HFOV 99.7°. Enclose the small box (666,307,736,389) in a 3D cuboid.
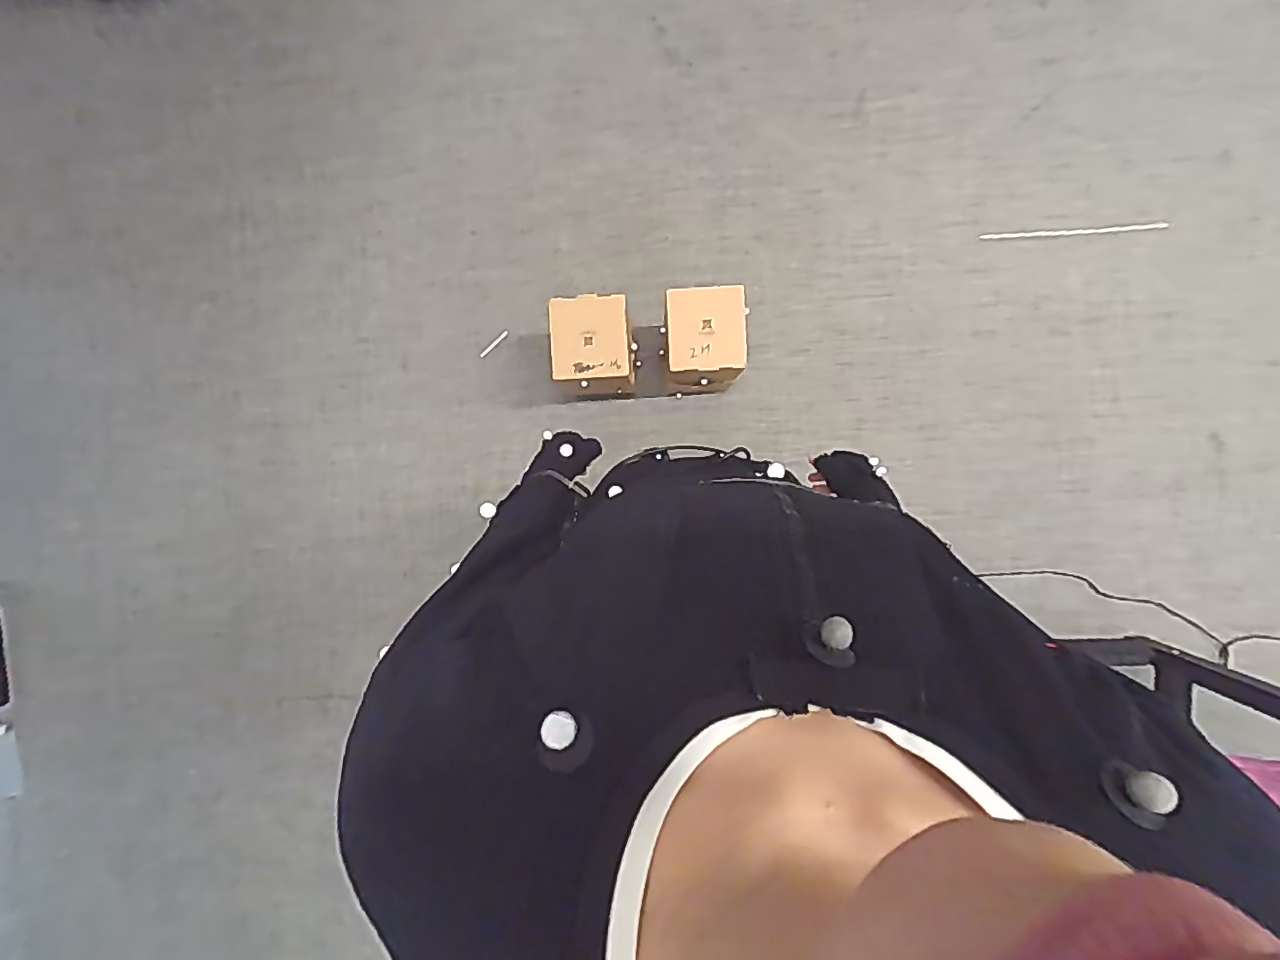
[{"bbox_3d":[0.151,-0.328,1.379,0.168,0.176,0.179,-3,92,2],"label":"small box"}]
